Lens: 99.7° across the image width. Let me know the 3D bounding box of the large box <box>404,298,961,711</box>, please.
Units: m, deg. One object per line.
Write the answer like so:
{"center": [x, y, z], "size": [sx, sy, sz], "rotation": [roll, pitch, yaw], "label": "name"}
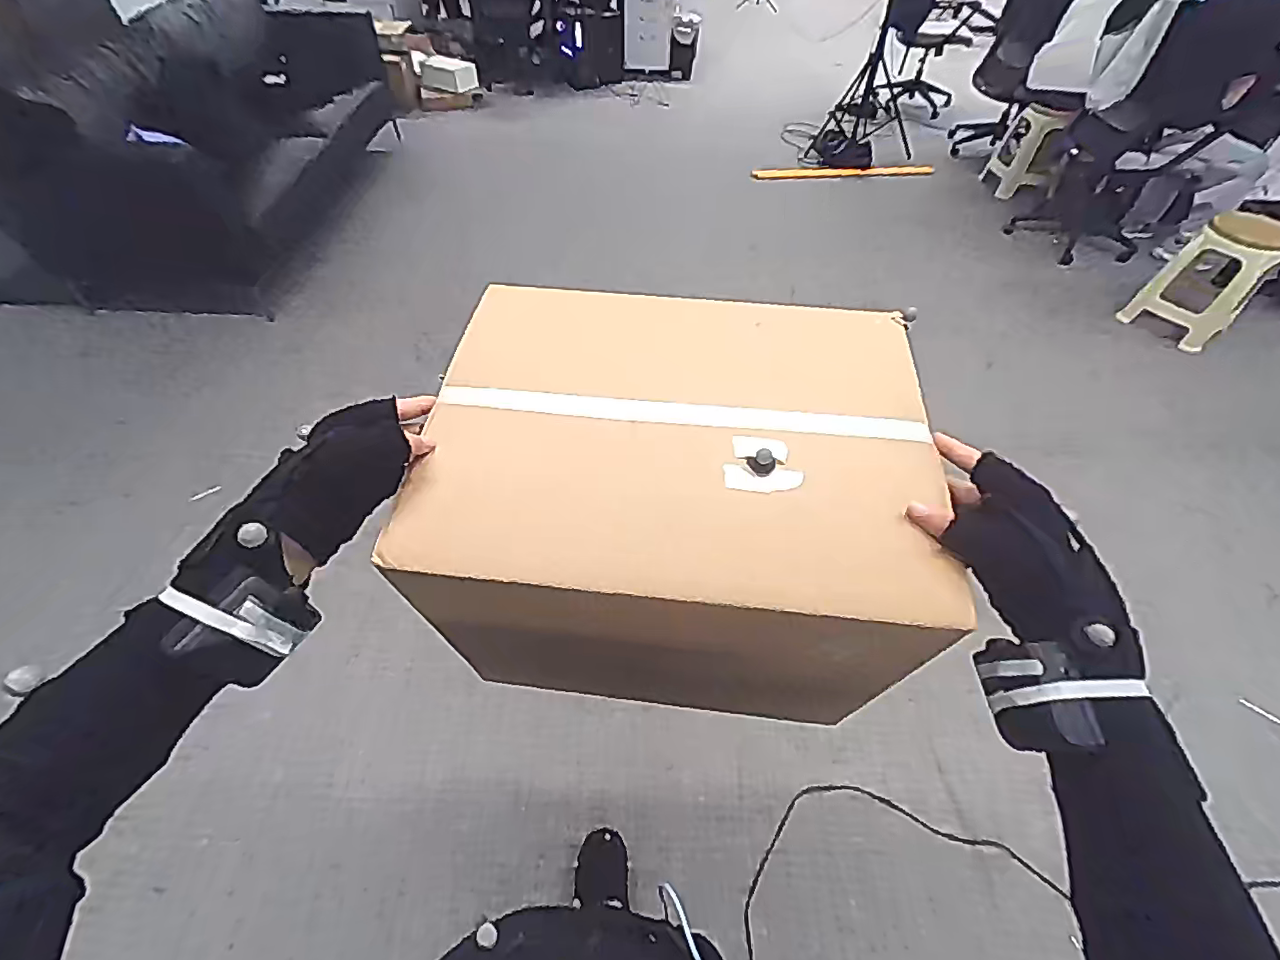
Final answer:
{"center": [0.036, 0.037, 0.584], "size": [0.408, 0.320, 0.320], "rotation": [6, 56, 3], "label": "large box"}
